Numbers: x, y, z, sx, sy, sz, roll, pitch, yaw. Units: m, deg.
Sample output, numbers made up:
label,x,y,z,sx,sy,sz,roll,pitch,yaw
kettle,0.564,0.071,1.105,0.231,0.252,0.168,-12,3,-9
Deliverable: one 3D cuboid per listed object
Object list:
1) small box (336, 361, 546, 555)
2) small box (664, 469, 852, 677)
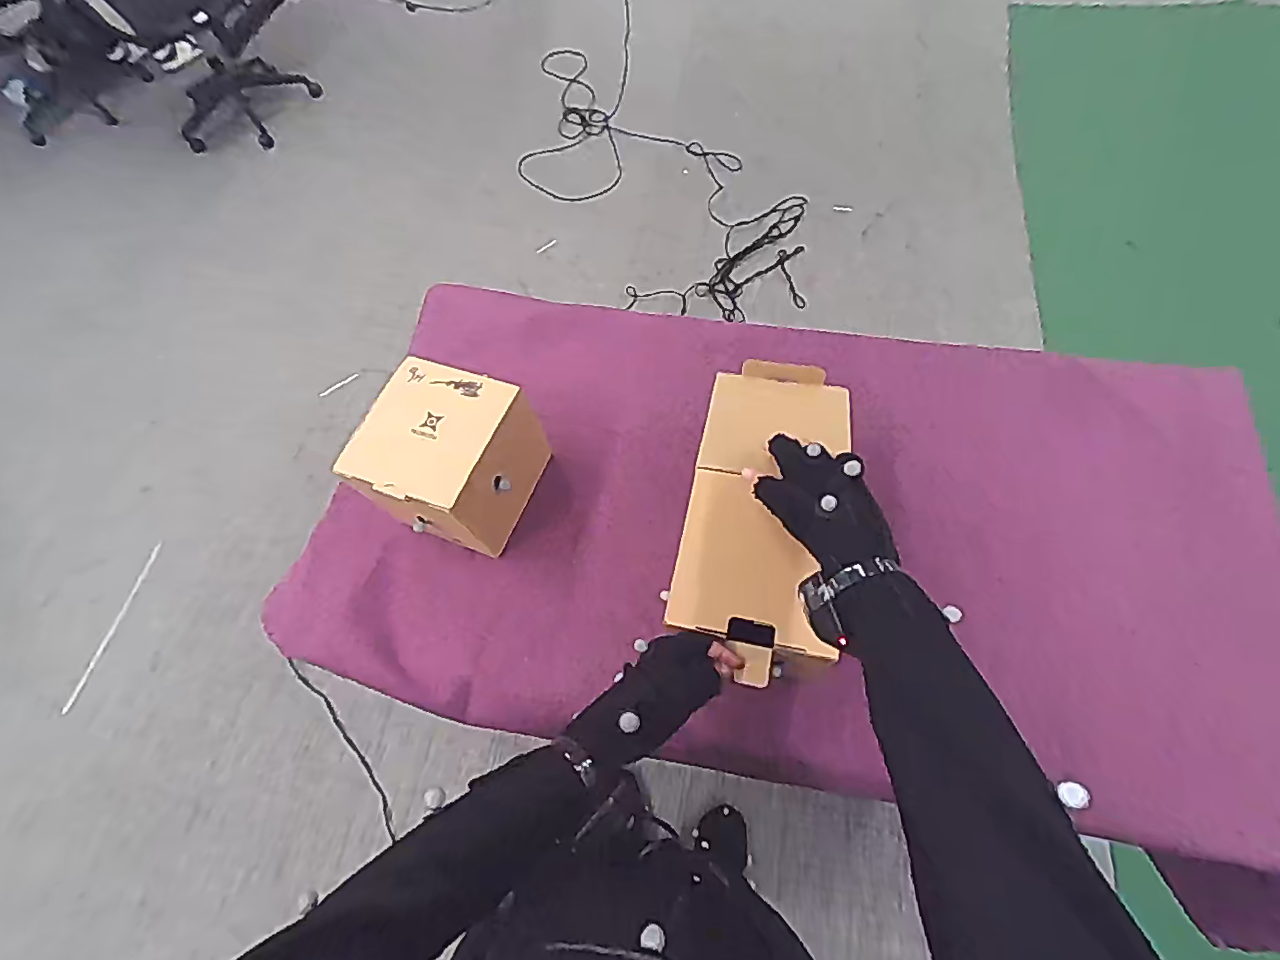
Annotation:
label,x,y,z,sx,sy,sz,roll,pitch,yaw
small box,-0.241,-0.021,0.710,0.168,0.176,0.179,17,67,13
small box,0.128,0.112,0.608,0.168,0.176,0.179,10,65,10
